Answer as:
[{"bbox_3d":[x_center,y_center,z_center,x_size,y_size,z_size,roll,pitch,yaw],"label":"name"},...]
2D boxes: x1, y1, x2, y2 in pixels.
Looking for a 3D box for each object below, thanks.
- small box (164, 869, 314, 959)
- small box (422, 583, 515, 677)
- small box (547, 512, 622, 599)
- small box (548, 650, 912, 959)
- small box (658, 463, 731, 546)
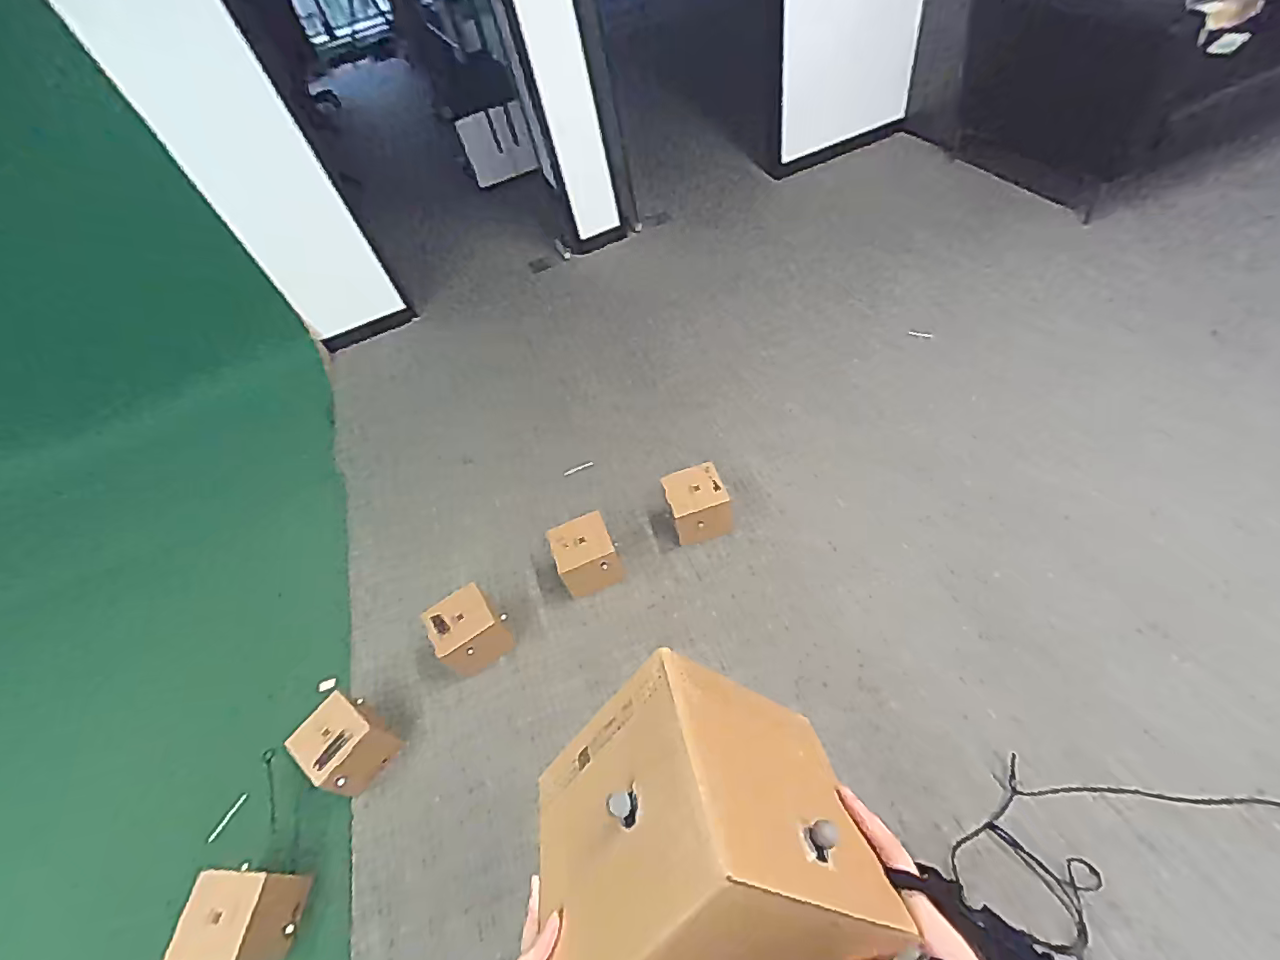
[{"bbox_3d":[-0.897,0.996,1.229,0.179,0.176,0.168,-5,52,10],"label":"small box"},{"bbox_3d":[-0.495,0.440,1.571,0.179,0.176,0.168,-32,52,-13],"label":"small box"},{"bbox_3d":[-0.165,0.234,1.658,0.179,0.176,0.168,-23,50,-5],"label":"small box"},{"bbox_3d":[0.044,0.256,0.399,0.168,0.179,0.176,-51,24,14],"label":"small box"},{"bbox_3d":[0.174,0.082,1.700,0.179,0.176,0.168,-19,51,-1],"label":"small box"}]
